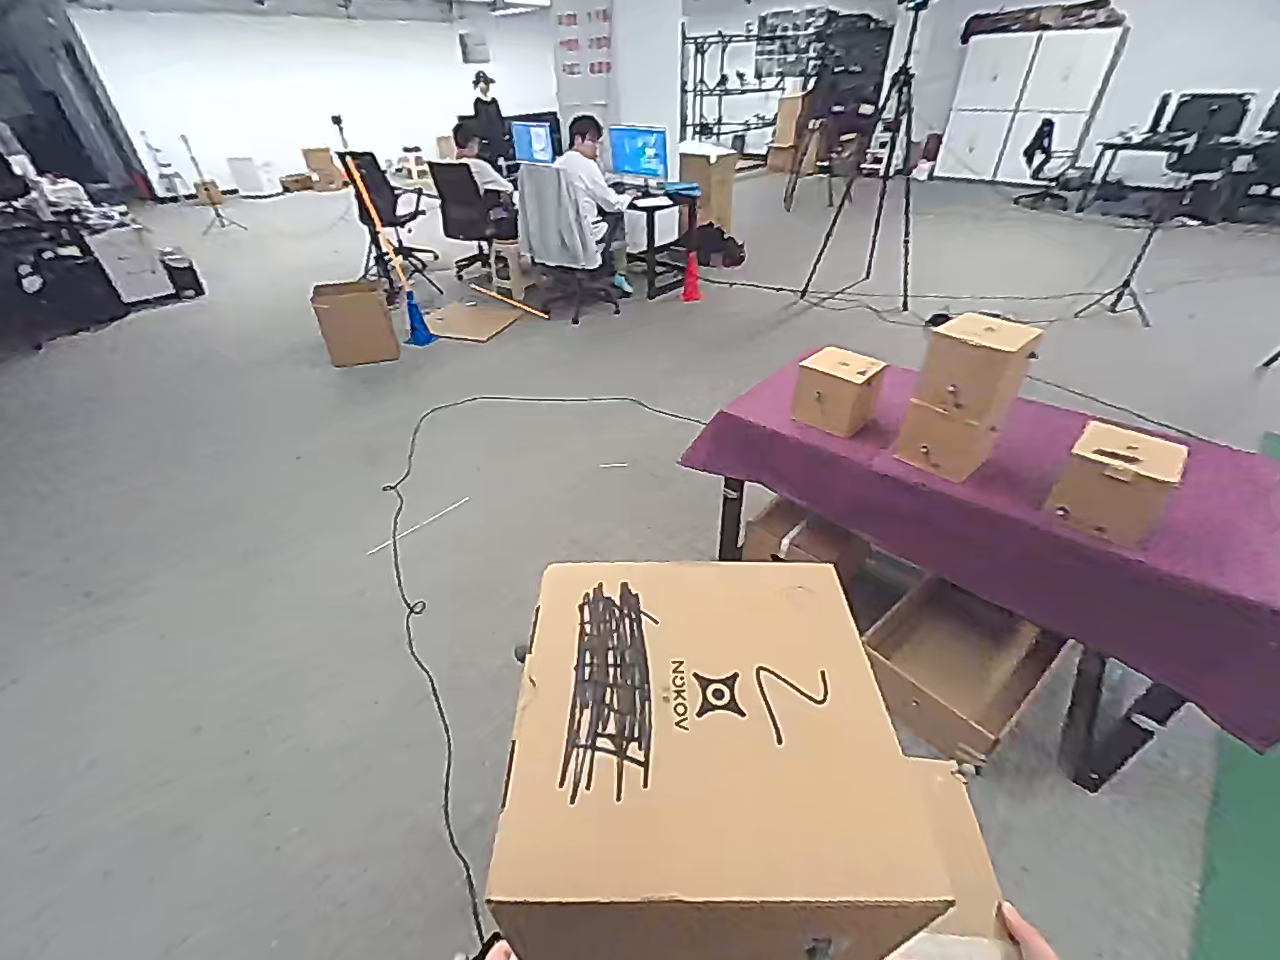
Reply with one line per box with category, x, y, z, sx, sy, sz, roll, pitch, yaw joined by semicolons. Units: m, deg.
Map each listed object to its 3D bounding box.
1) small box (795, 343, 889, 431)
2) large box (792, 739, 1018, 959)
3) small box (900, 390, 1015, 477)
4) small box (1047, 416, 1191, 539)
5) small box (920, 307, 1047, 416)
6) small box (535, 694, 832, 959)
small box;0.547;-0.255;1.482;0.179;0.176;0.168;29;48;35
large box;0.113;0.489;0.562;0.408;0.320;0.320;2;42;3
small box;0.765;-0.136;1.318;0.179;0.176;0.168;-30;45;-30
small box;0.990;-0.005;1.129;0.168;0.176;0.179;29;46;35
small box;0.766;-0.270;1.221;0.179;0.176;0.168;-29;44;-29
small box;0.027;0.287;0.423;0.179;0.176;0.168;-1;40;1
